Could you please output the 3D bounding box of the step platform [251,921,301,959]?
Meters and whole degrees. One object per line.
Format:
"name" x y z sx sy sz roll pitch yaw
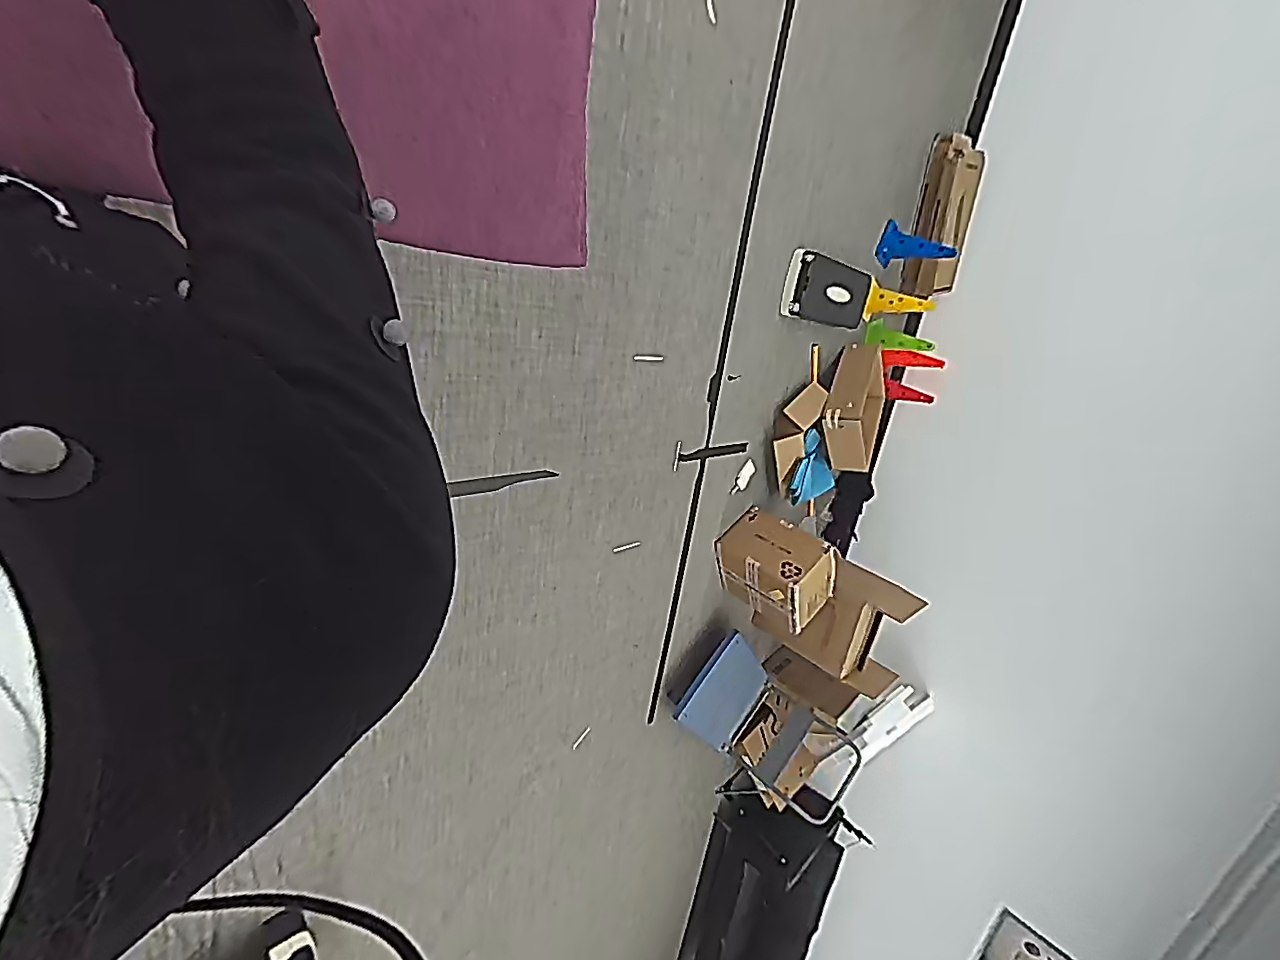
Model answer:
"step platform" -1.320 1.600 1.489 0.684 0.204 0.286 -12 119 -45
